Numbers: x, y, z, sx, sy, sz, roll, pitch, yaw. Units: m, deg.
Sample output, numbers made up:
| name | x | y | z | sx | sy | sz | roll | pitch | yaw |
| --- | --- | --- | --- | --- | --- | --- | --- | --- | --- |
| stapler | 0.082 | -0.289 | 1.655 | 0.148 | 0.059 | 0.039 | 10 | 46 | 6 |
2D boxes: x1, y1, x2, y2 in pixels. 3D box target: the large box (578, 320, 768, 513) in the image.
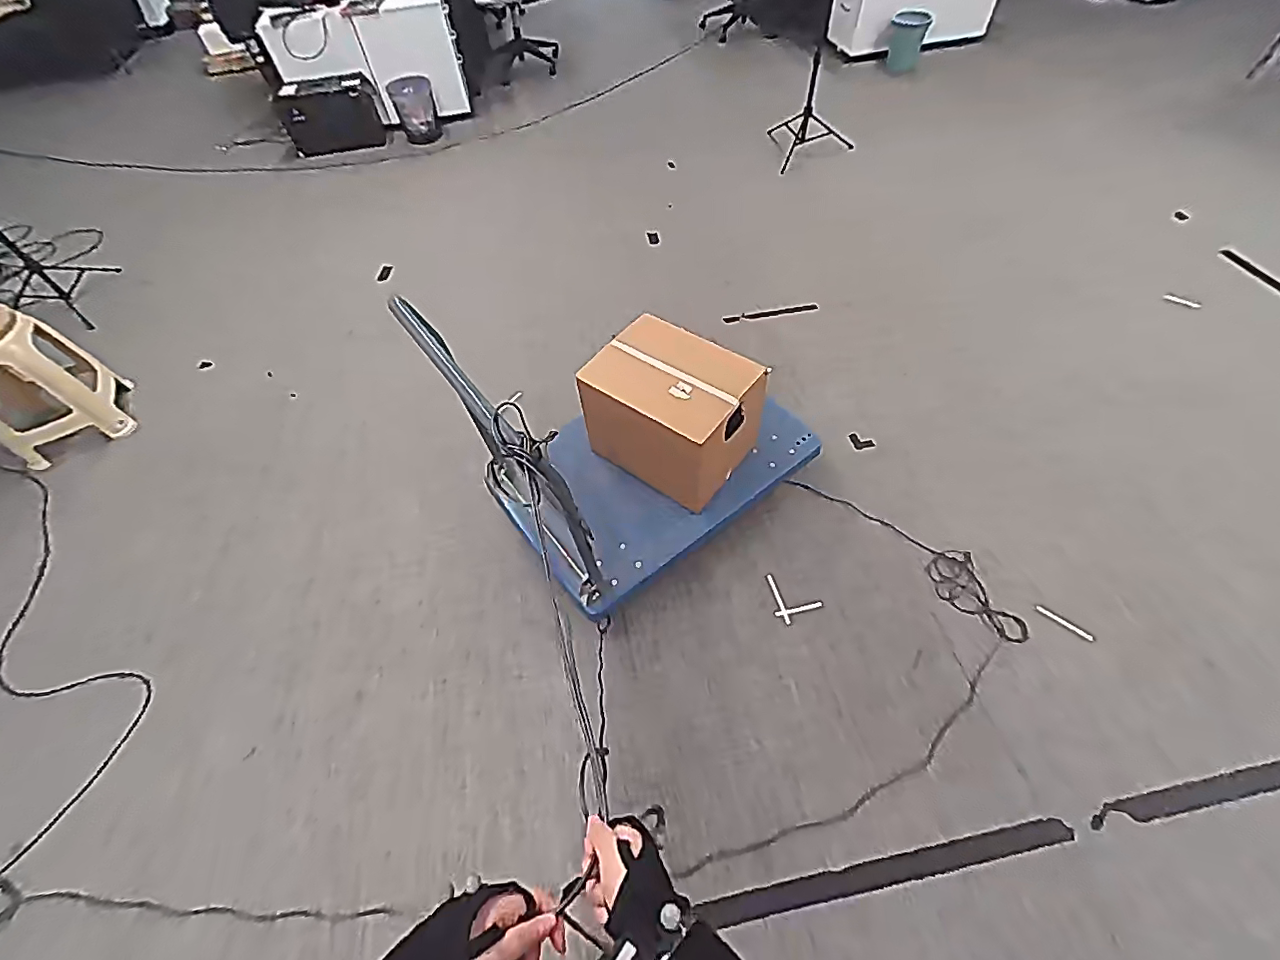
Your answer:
| name | x | y | z | sx | sy | sz | roll | pitch | yaw |
| --- | --- | --- | --- | --- | --- | --- | --- | --- | --- |
| large box | 0.088 | -0.179 | 1.519 | 0.408 | 0.320 | 0.320 | 32 | 63 | 22 |
